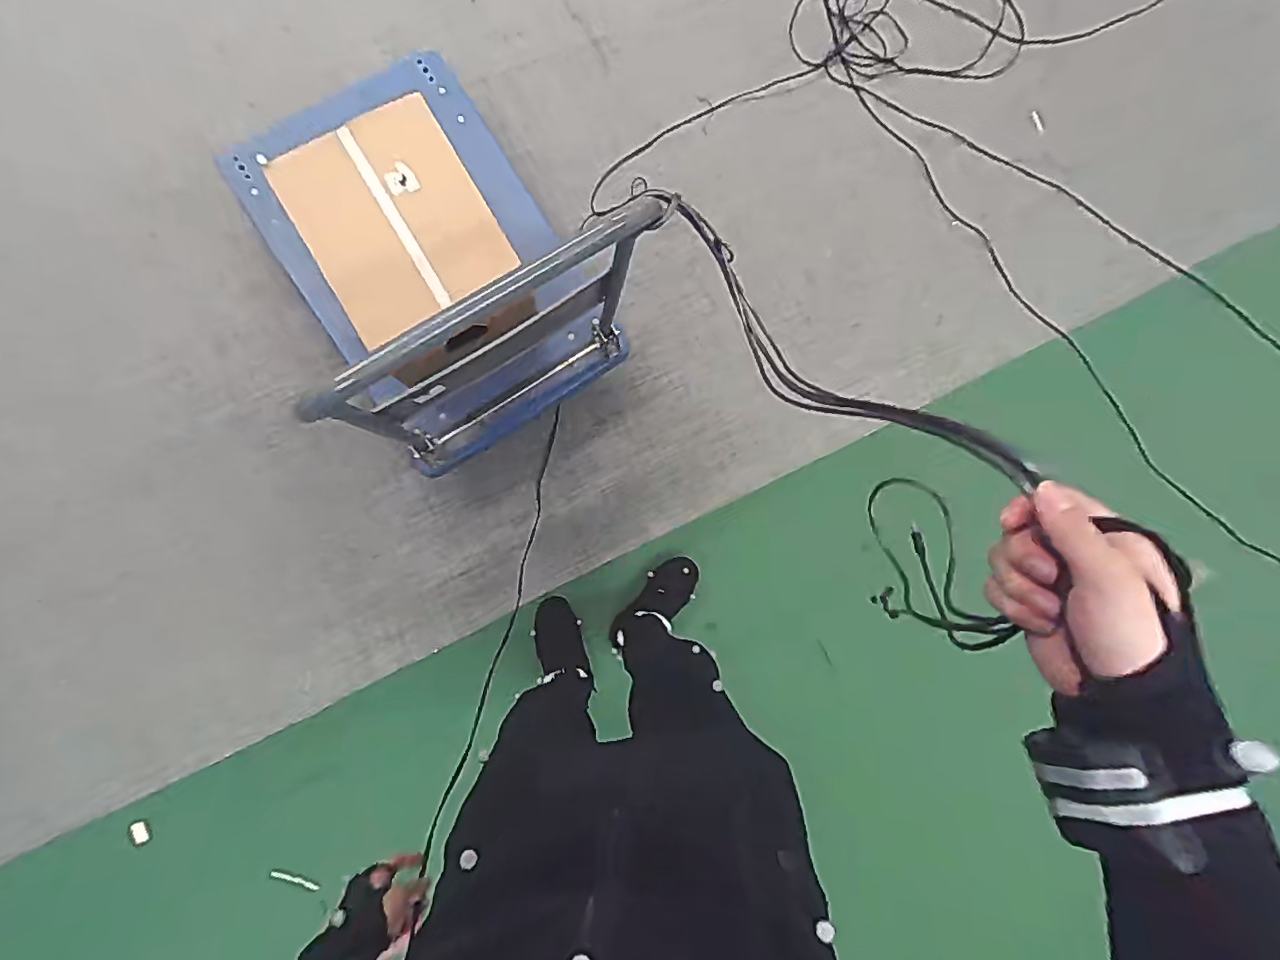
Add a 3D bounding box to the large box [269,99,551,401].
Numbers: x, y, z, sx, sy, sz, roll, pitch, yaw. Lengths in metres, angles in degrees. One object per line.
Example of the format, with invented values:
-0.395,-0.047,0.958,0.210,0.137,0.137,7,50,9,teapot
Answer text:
-0.423,-0.430,1.097,0.320,0.320,0.408,-31,89,-7,large box
